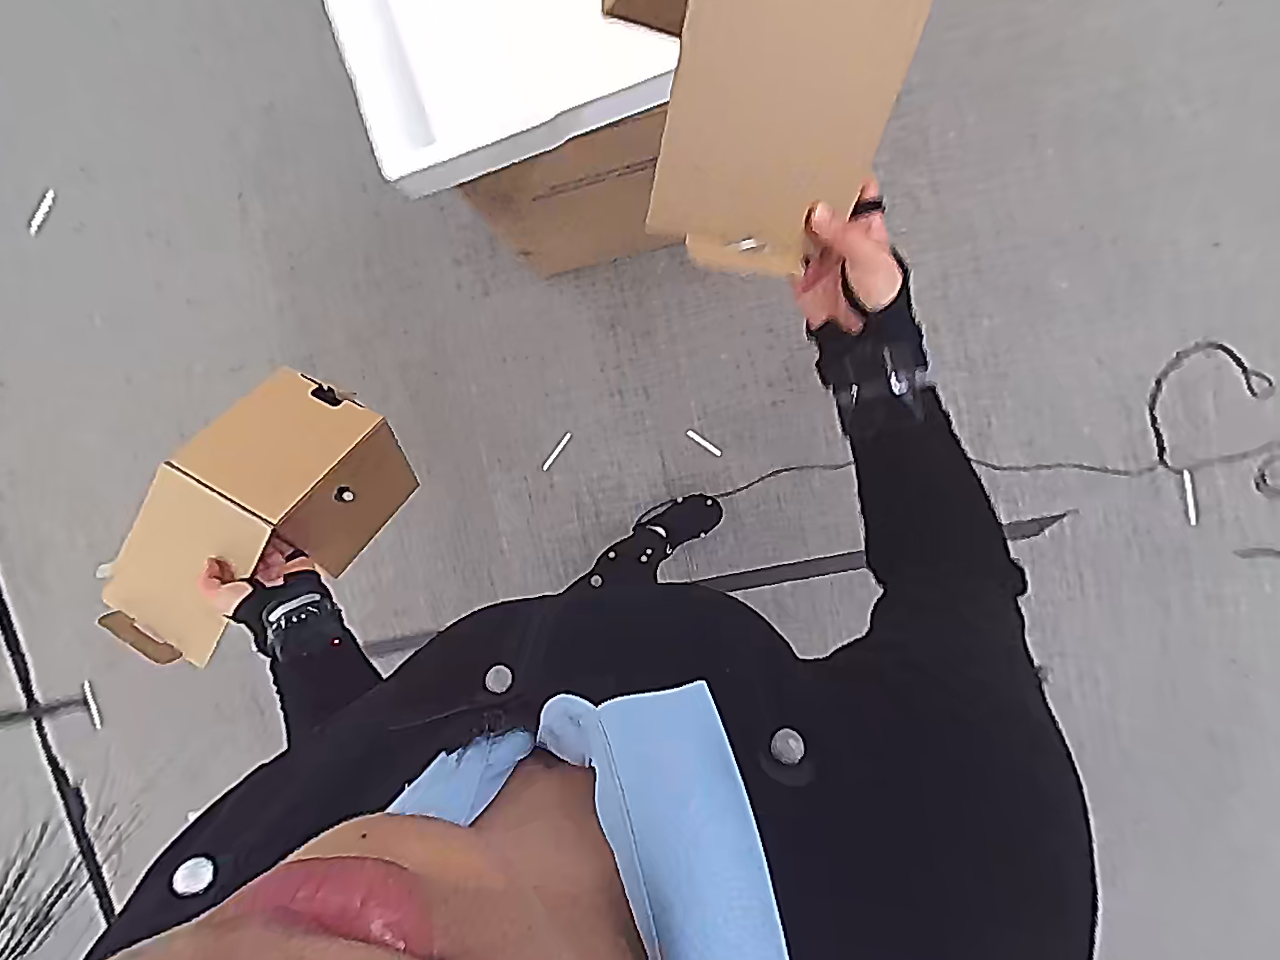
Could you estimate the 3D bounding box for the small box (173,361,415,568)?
[{"bbox_3d":[-0.426,-0.013,0.704,0.168,0.176,0.179,28,60,10],"label":"small box"}]
